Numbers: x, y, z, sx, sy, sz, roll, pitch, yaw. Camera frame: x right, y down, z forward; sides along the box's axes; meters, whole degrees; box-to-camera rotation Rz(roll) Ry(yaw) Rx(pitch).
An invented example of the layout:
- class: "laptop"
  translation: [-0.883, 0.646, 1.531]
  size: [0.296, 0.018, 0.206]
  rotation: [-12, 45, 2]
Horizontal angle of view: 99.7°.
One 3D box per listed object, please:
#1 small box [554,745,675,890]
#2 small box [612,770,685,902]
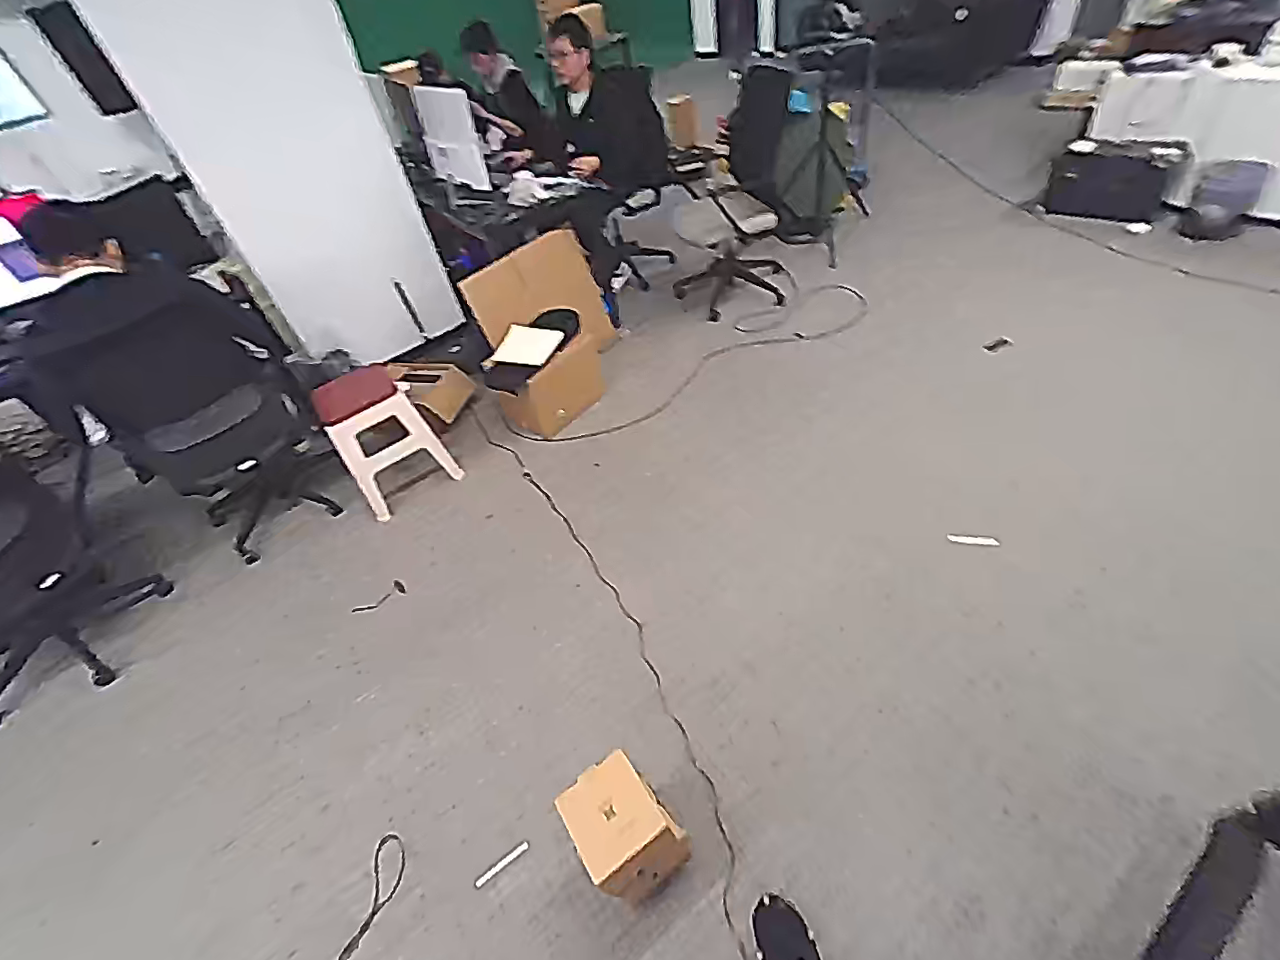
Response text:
- class: "small box"
  translation: [-0.048, 0.692, 1.105]
  size: [0.168, 0.176, 0.179]
  rotation: [-33, 49, -16]
- class: "small box"
  translation: [-0.012, 0.803, 1.219]
  size: [0.179, 0.176, 0.168]
  rotation: [-34, 48, -18]
